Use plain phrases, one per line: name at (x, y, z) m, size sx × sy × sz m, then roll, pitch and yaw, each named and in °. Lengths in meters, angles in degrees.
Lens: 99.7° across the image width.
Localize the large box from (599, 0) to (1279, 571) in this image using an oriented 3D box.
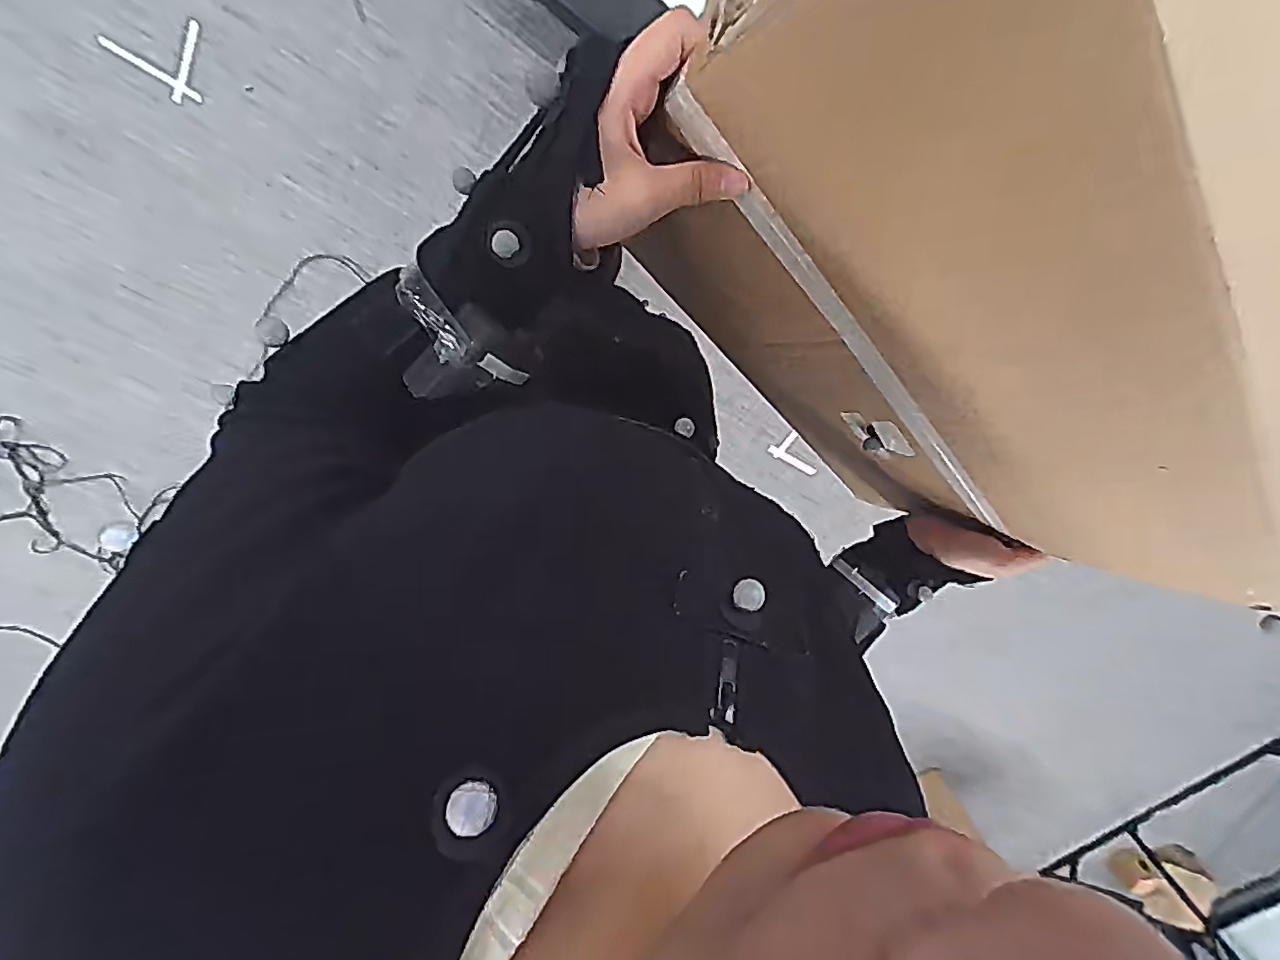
large box at (0.258, -0.202, 0.324) m, size 0.408 × 0.320 × 0.320 m, roll 38°, pitch 84°, yaw -27°
